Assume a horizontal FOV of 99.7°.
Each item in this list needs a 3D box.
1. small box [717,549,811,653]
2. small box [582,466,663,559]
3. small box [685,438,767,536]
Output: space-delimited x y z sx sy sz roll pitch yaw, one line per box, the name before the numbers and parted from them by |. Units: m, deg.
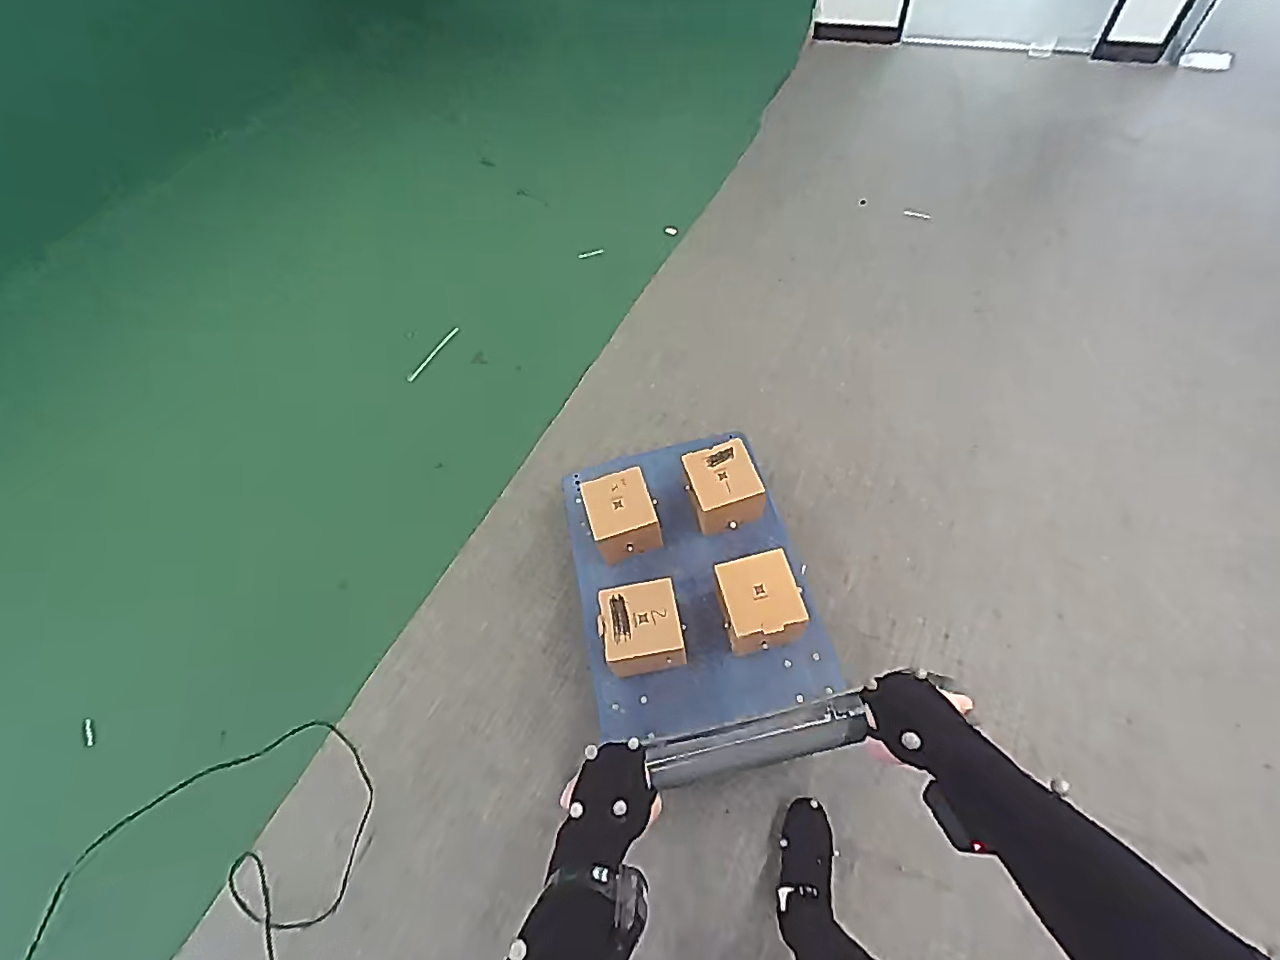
small box | 0.282 0.289 1.278 0.168 0.176 0.179 -14 59 -1
small box | -0.042 0.094 1.435 0.168 0.176 0.179 -17 59 -3
small box | 0.224 0.022 1.440 0.168 0.176 0.179 -18 60 -2
